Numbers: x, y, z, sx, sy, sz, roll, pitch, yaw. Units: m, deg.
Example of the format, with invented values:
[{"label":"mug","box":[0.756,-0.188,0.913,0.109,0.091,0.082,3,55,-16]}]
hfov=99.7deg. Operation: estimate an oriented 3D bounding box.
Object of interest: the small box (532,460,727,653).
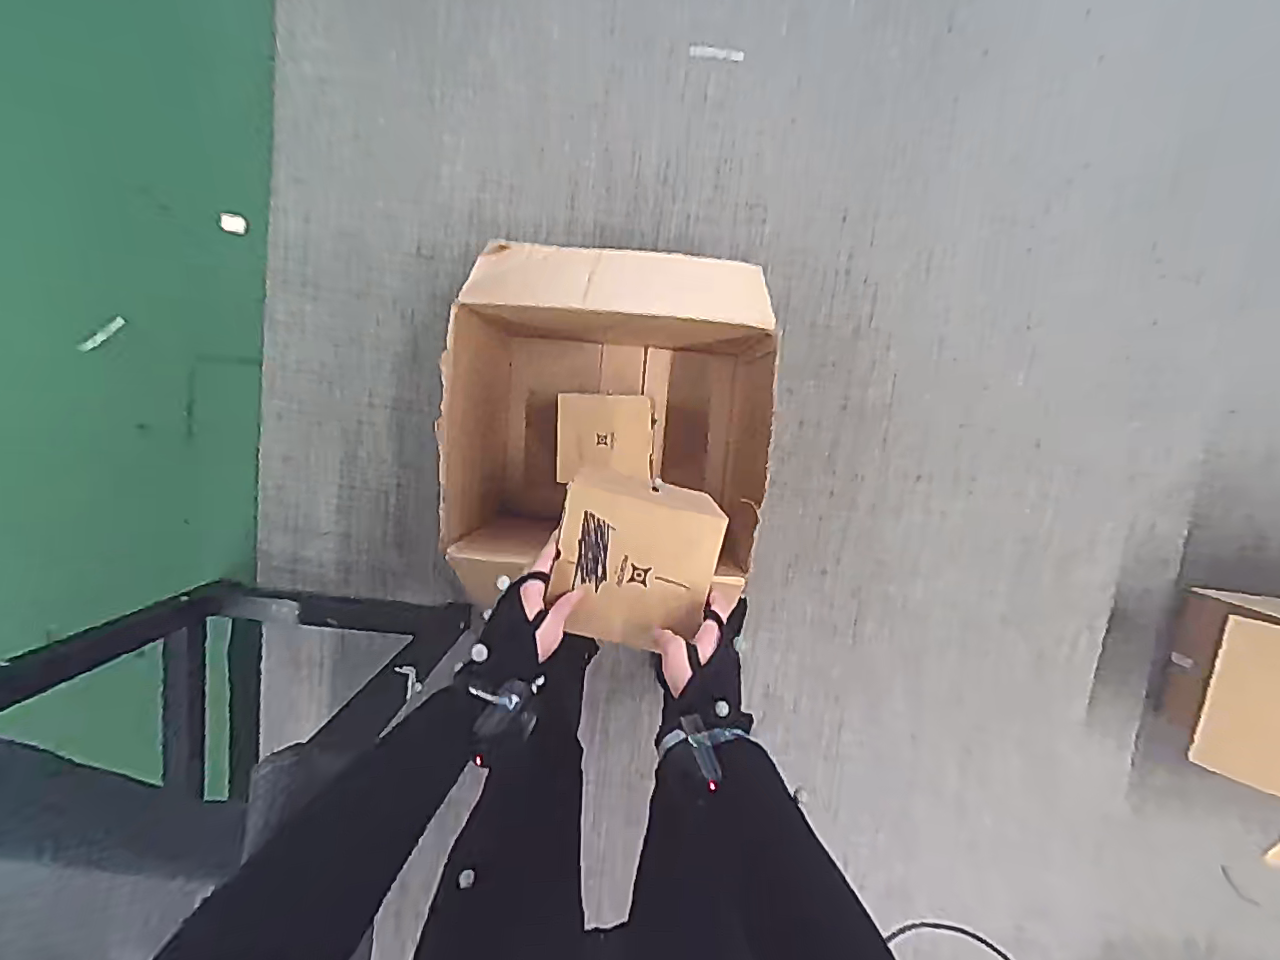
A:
[{"label":"small box","box":[-0.012,0.079,0.665,0.179,0.176,0.168,18,99,-2]}]
